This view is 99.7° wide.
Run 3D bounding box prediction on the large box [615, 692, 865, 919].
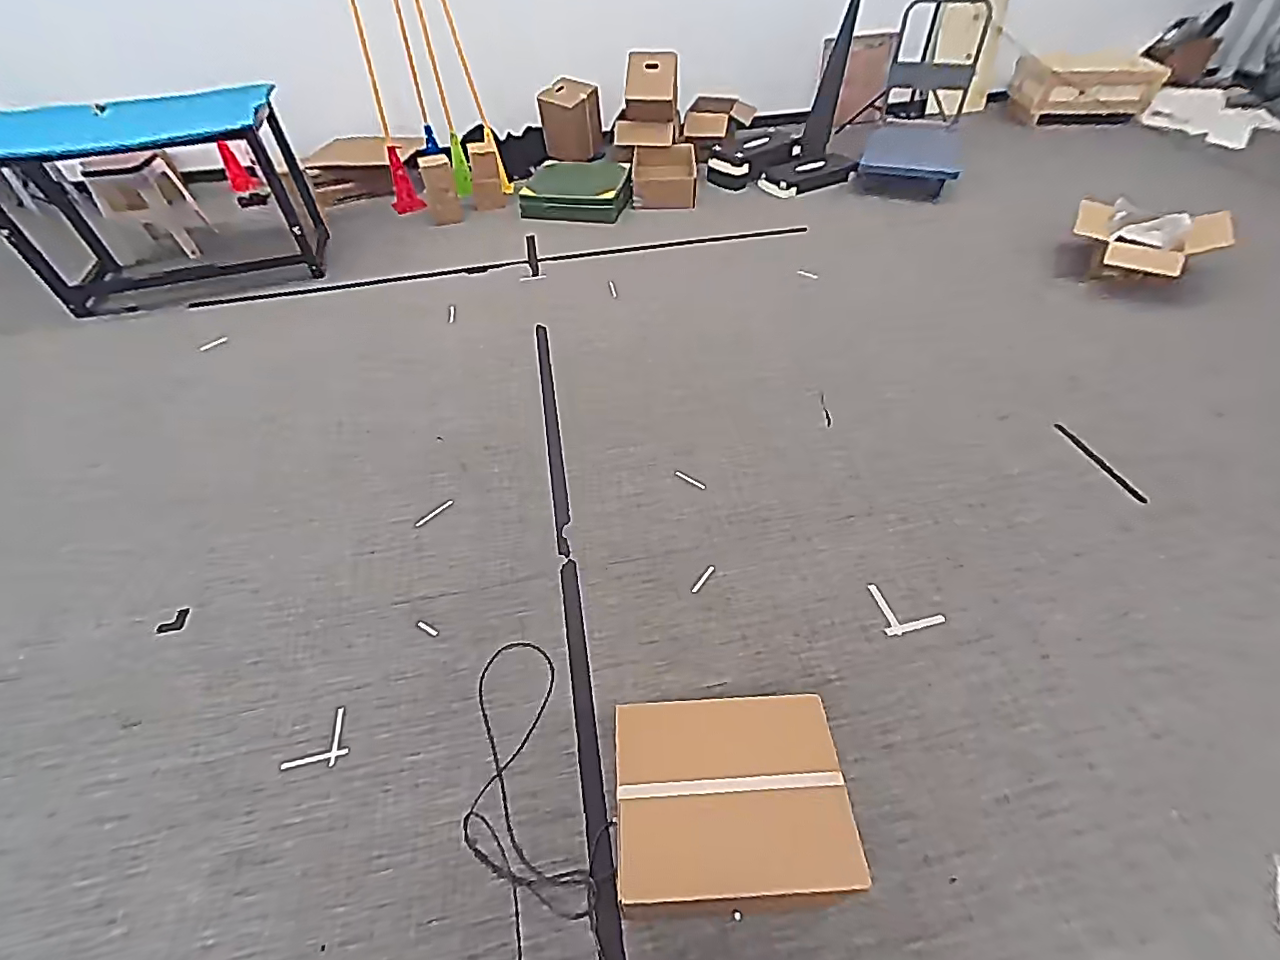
[{"bbox_3d":[0.160,0.646,1.074,0.408,0.320,0.320,-3,48,-1],"label":"large box"}]
